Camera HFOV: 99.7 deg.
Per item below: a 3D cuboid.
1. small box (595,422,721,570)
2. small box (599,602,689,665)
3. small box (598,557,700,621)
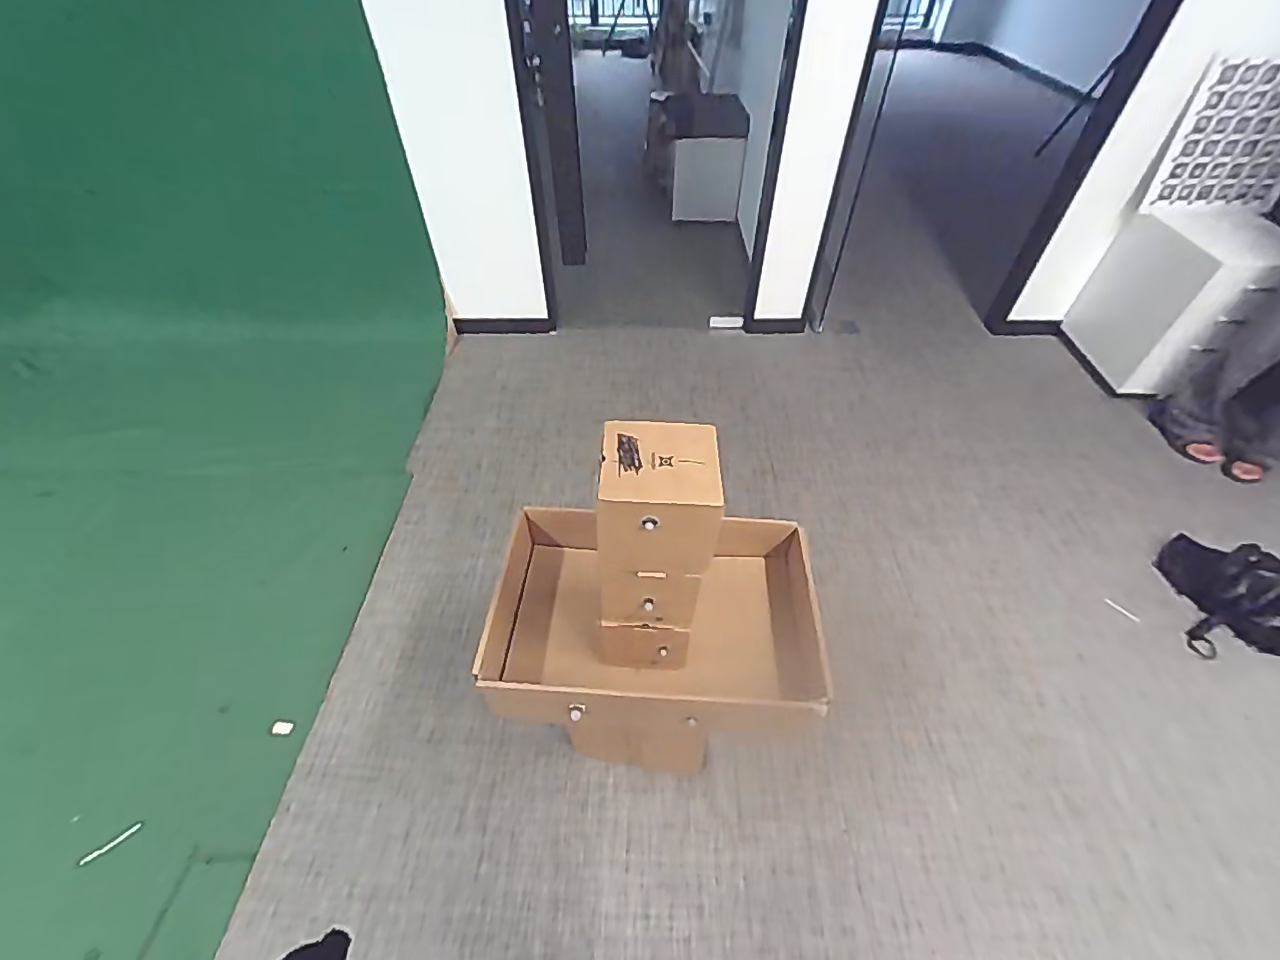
[{"bbox_3d":[0.024,0.028,0.848,0.179,0.176,0.168,3,47,-1],"label":"small box"},{"bbox_3d":[0.010,0.255,1.086,0.168,0.176,0.179,3,46,0],"label":"small box"},{"bbox_3d":[0.017,0.137,0.972,0.168,0.176,0.179,4,48,0],"label":"small box"}]
